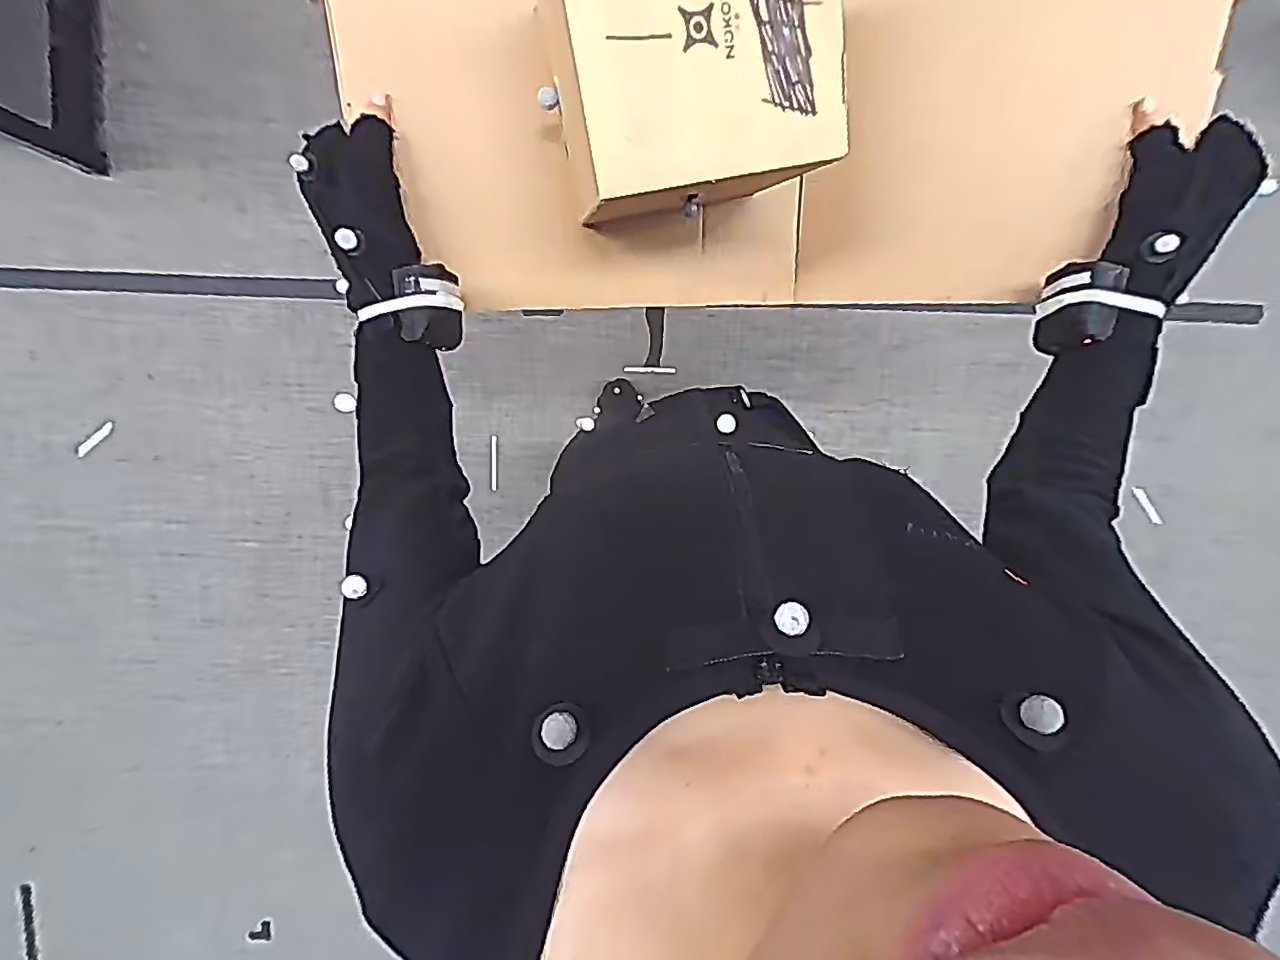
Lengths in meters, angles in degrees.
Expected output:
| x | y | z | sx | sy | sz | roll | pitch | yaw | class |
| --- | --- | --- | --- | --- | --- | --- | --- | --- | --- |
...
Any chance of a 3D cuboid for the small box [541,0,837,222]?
| x | y | z | sx | sy | sz | roll | pitch | yaw | class |
| --- | --- | --- | --- | --- | --- | --- | --- | --- | --- |
| 0.028 | -0.305 | 0.413 | 0.179 | 0.176 | 0.168 | -13 | 112 | -6 | small box |
